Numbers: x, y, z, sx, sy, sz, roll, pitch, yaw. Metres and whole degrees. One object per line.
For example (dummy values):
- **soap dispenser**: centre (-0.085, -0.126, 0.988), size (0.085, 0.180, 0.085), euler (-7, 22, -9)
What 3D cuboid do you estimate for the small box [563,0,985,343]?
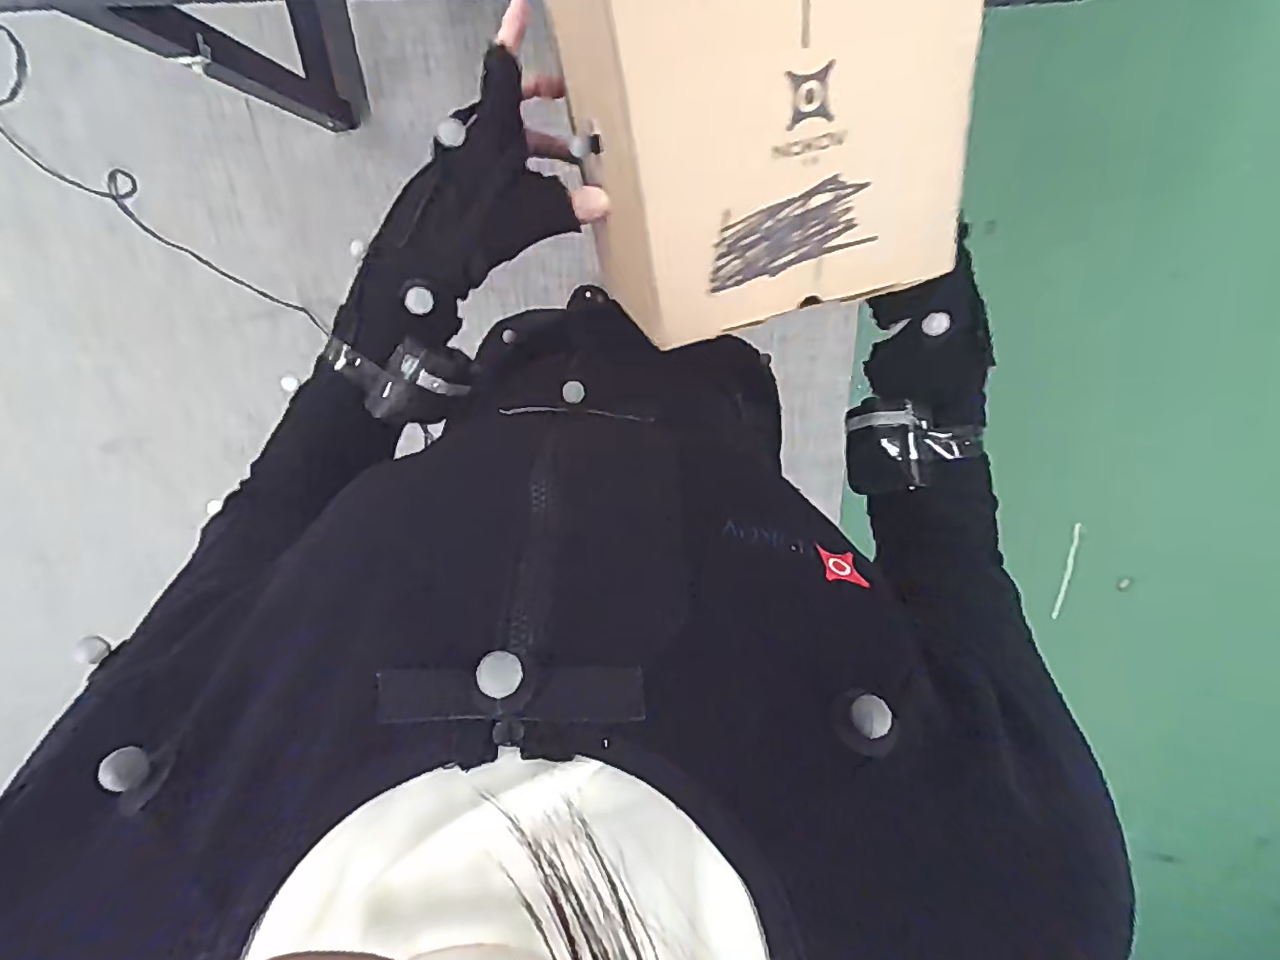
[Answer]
- **small box**: centre (0.060, -0.203, 0.316), size (0.168, 0.176, 0.179), euler (-16, 122, -6)
